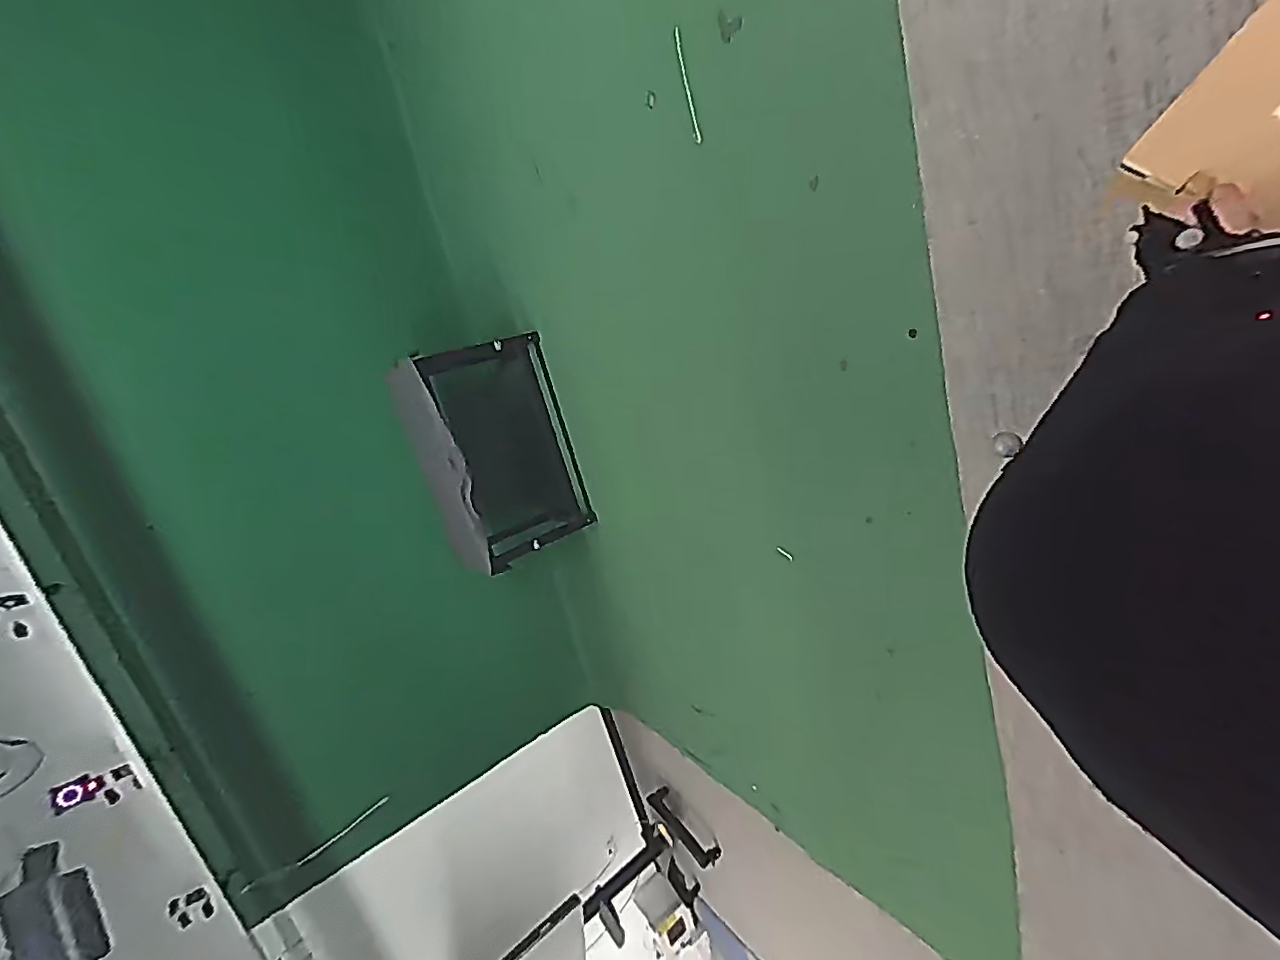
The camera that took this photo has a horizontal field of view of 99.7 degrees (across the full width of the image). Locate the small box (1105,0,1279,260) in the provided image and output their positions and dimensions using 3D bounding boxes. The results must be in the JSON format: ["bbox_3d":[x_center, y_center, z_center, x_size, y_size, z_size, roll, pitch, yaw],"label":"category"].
[{"bbox_3d":[0.618,-0.342,0.531,0.168,0.179,0.176,43,125,18],"label":"small box"}]
